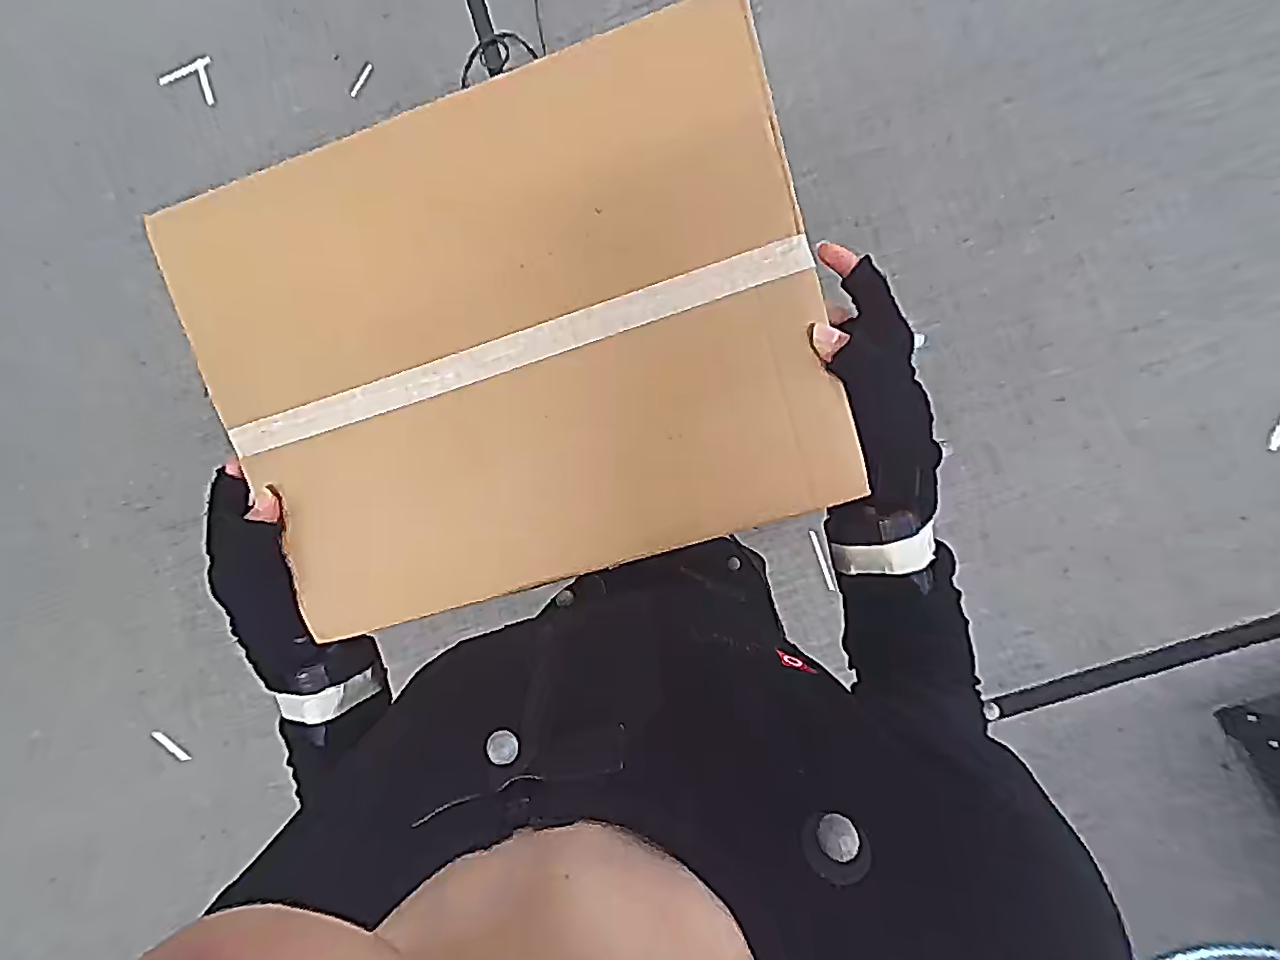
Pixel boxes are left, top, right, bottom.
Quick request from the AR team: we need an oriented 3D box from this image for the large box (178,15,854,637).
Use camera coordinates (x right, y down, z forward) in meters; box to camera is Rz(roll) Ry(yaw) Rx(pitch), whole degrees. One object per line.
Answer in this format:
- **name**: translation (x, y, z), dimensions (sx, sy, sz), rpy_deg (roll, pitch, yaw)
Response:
- **large box**: translation (-0.074, -0.104, 0.512), dimensions (0.408, 0.320, 0.320), rpy_deg (-16, 96, 7)
